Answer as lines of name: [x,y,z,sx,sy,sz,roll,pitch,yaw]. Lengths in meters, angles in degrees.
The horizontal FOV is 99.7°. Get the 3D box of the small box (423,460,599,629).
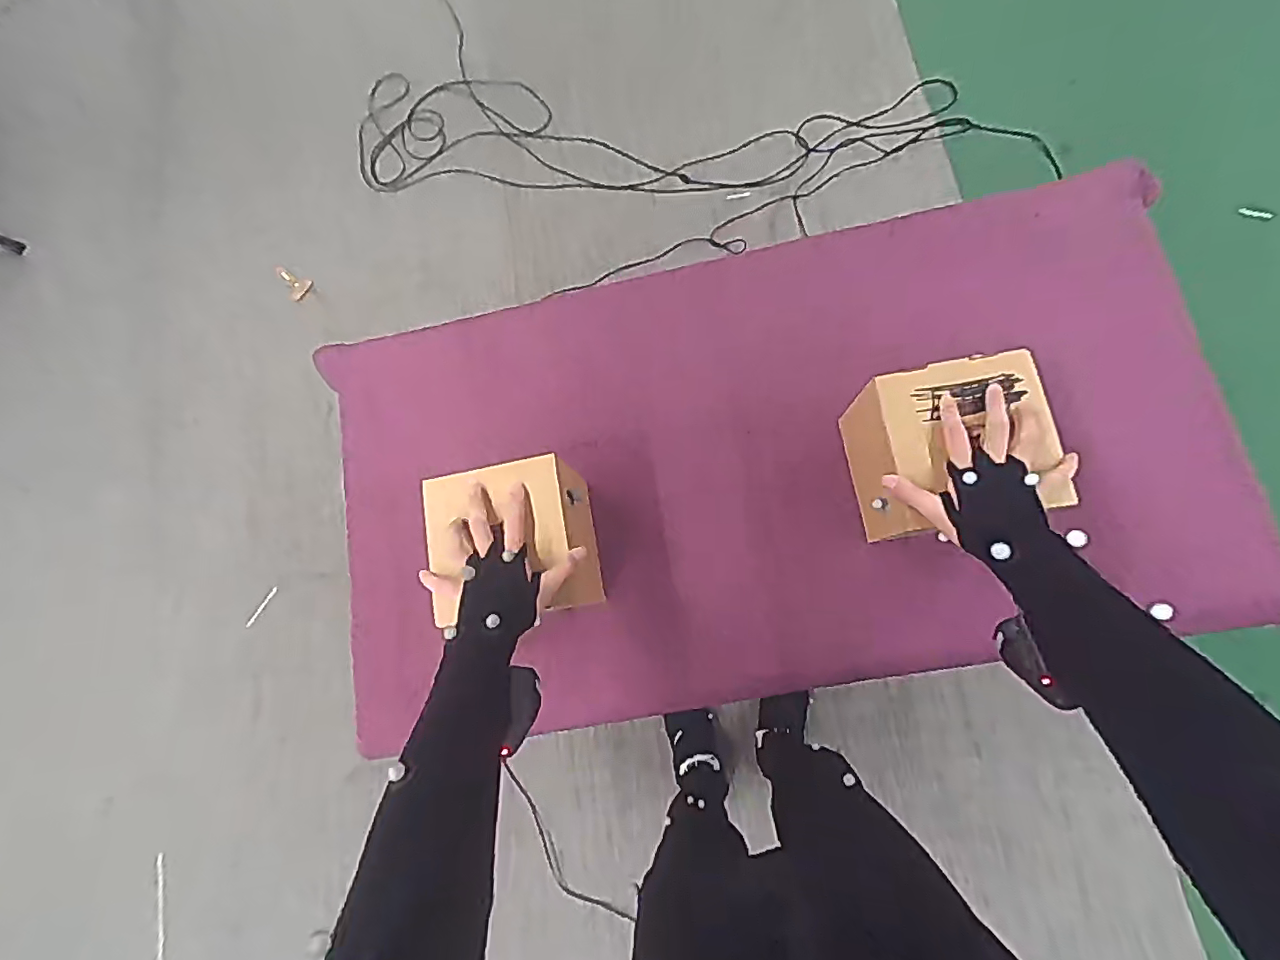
small box: [-0.158,0.089,0.700,0.168,0.176,0.179,-11,77,6]
